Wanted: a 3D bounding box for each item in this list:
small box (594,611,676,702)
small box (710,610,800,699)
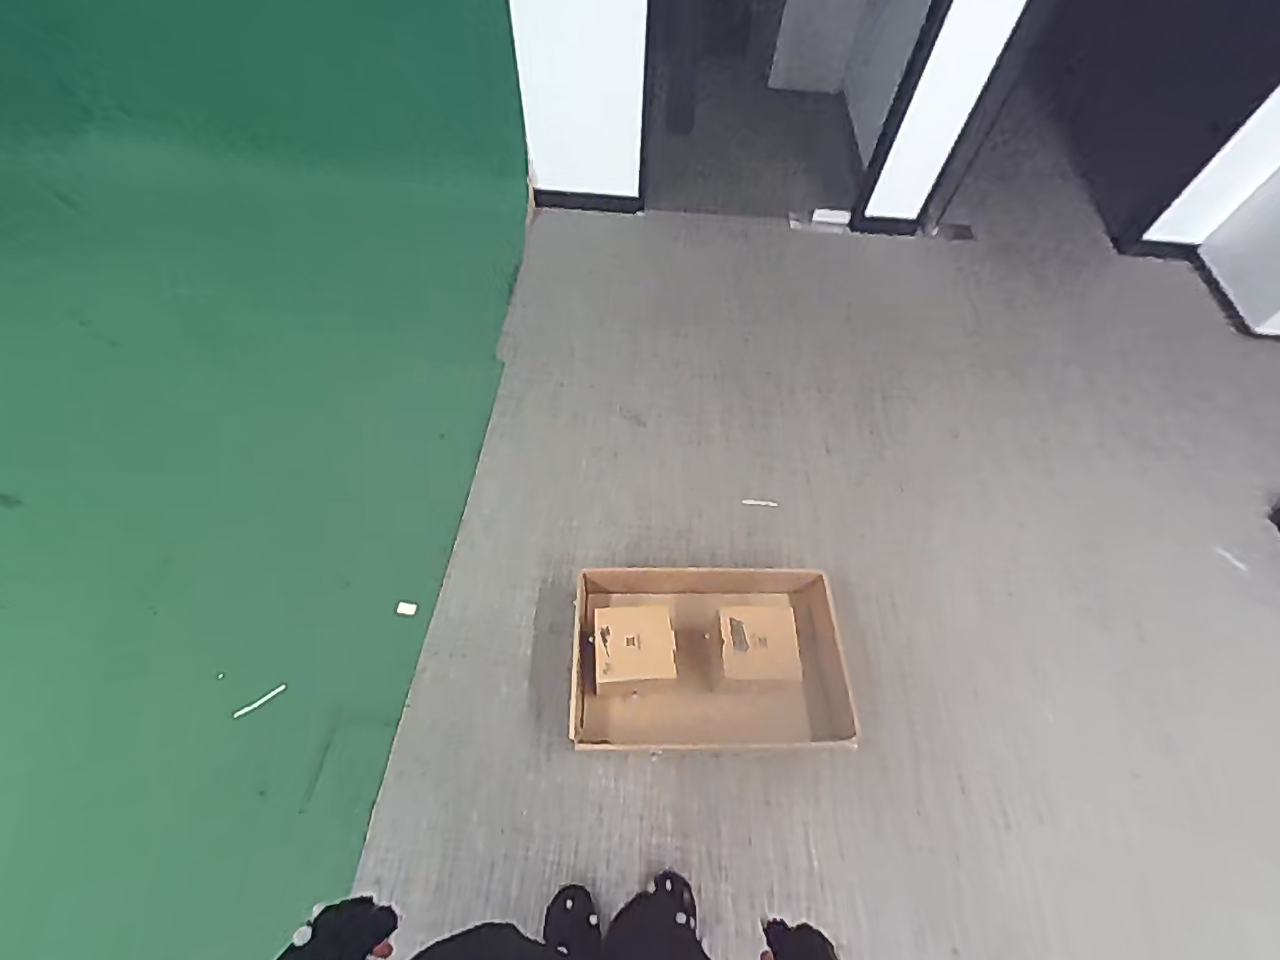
[{"bbox_3d":[-0.019,0.416,1.266,0.179,0.176,0.168,-1,57,-6],"label":"small box"},{"bbox_3d":[0.262,0.417,1.280,0.179,0.176,0.168,2,58,-1],"label":"small box"}]
